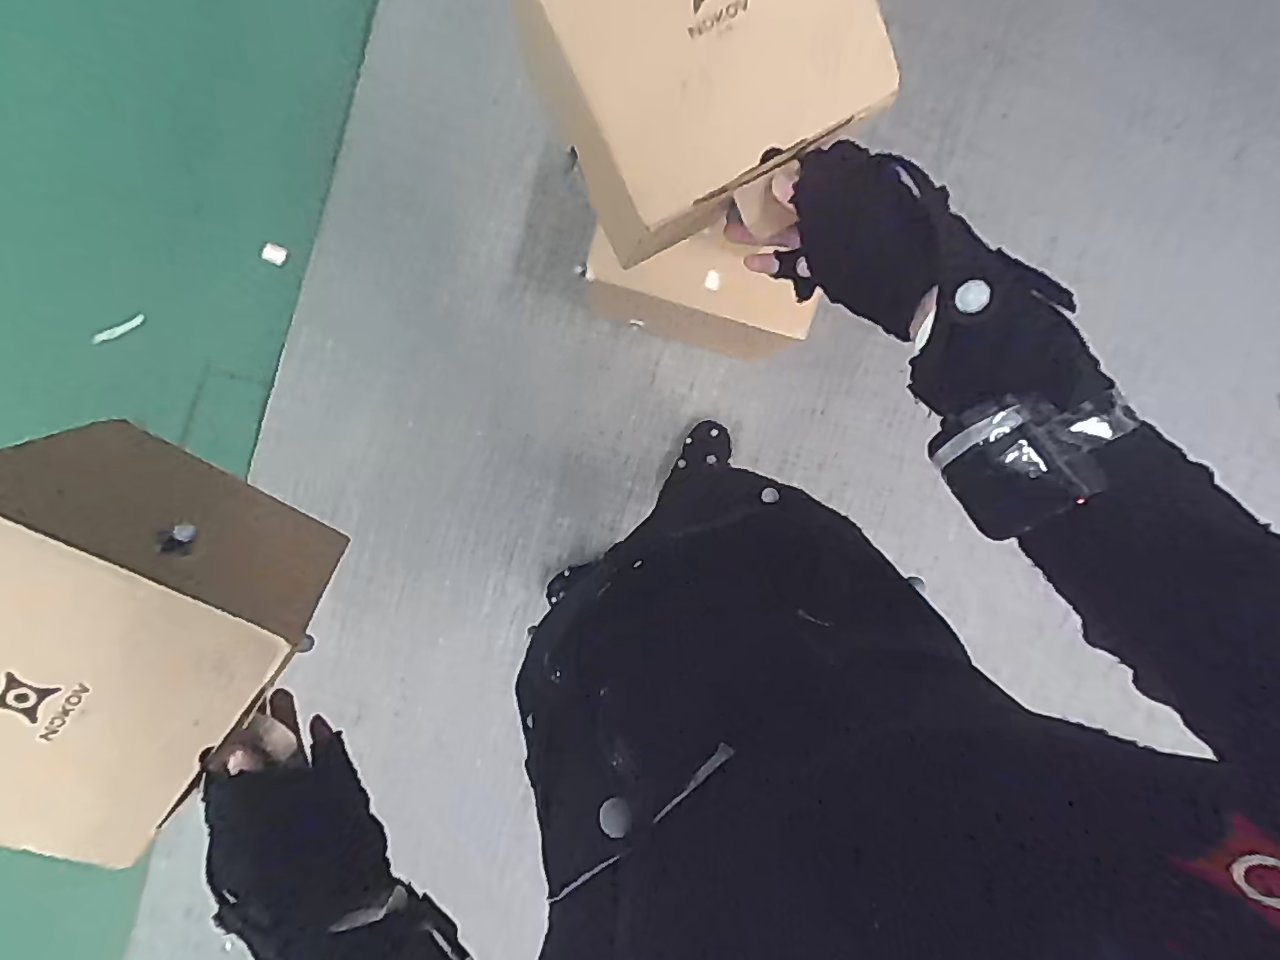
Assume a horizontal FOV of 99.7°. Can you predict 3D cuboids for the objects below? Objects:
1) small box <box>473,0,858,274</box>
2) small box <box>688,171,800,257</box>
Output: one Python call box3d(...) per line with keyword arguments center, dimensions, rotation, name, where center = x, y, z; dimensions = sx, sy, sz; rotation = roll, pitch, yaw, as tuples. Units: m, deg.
box3d(center=(0.009, -0.258, 0.369), dimensions=(0.168, 0.176, 0.179), rotation=(-29, 106, 2), name="small box")
box3d(center=(0.135, -0.460, 0.832), dimensions=(0.179, 0.176, 0.168), rotation=(15, 100, -4), name="small box")
